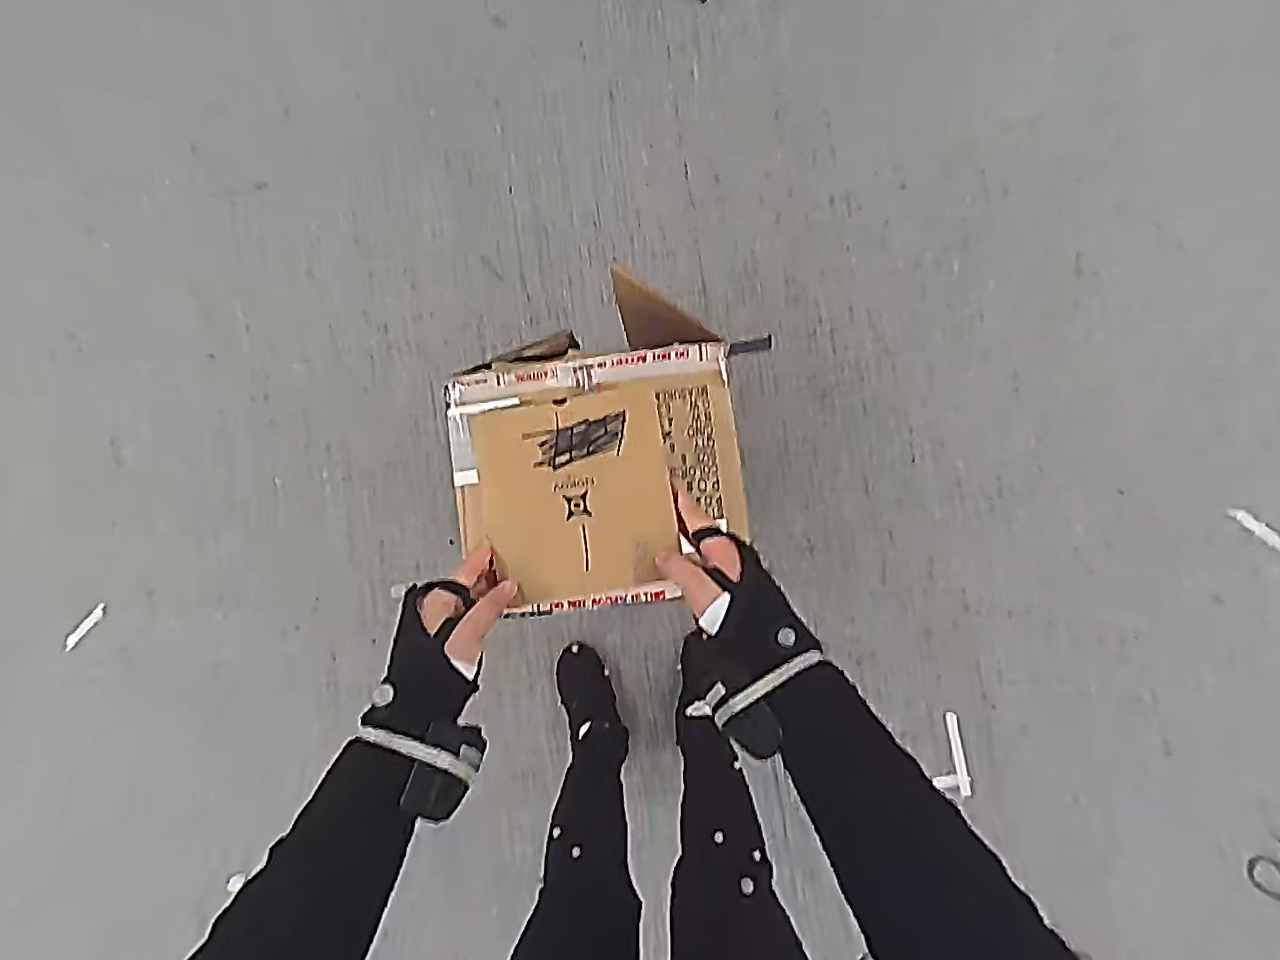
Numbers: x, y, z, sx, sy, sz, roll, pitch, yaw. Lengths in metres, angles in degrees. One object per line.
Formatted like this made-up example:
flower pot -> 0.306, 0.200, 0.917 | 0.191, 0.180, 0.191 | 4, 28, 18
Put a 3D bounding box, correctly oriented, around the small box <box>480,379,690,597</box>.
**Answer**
small box -> -0.048, 0.006, 0.561 | 0.168, 0.176, 0.179 | -10, 92, 2
